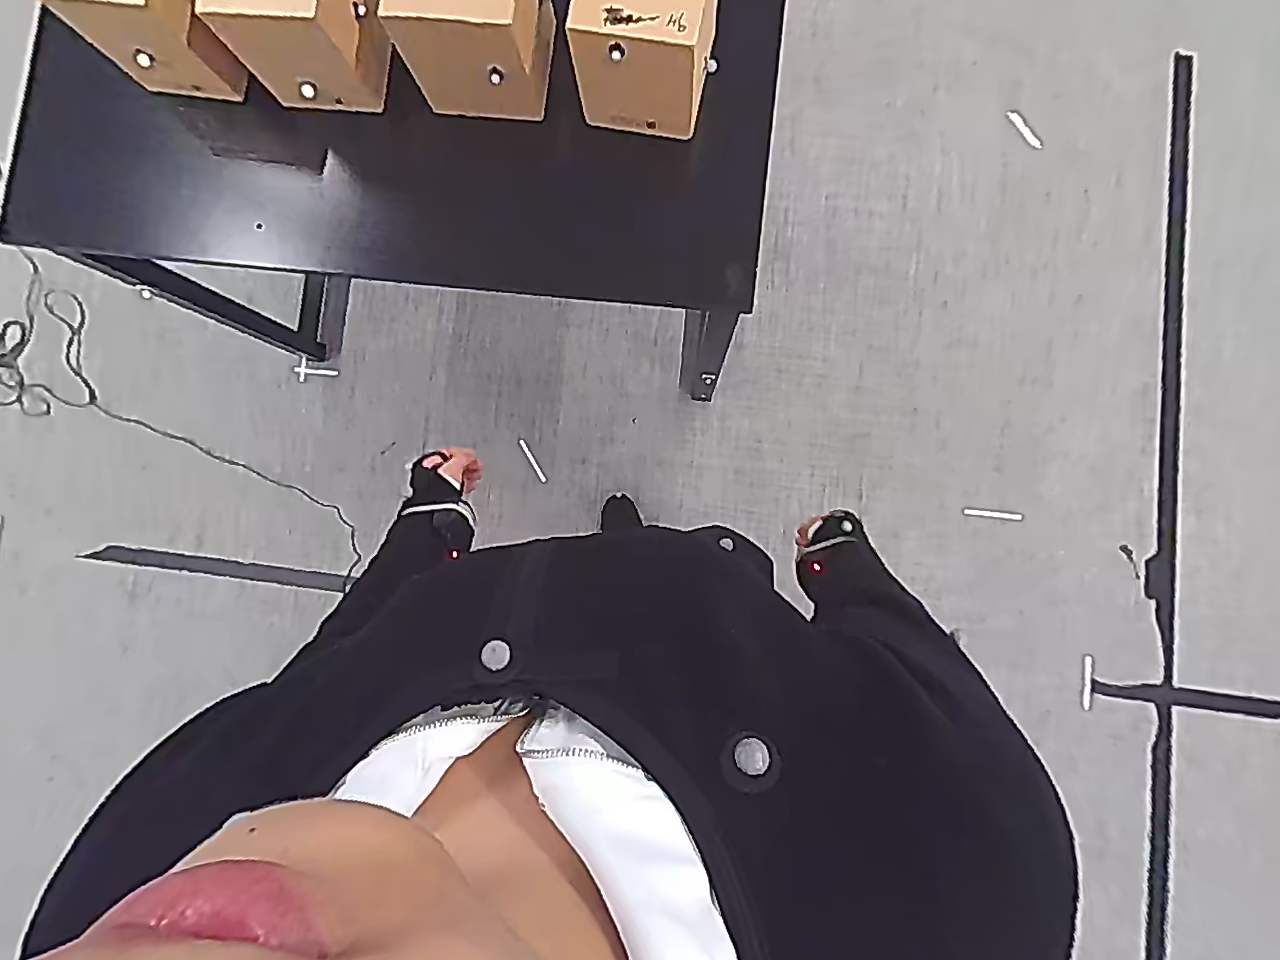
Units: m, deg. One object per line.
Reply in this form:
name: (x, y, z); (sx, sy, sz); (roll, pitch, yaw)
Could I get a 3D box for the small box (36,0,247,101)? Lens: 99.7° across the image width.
small box: (-0.702, -0.698, 0.788); (0.168, 0.176, 0.179); (9, 86, 3)

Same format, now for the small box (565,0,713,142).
small box: (0.007, -0.616, 0.745); (0.168, 0.176, 0.179); (12, 86, 4)

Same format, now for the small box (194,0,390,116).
small box: (-0.480, -0.668, 0.774); (0.168, 0.176, 0.179); (5, 88, 3)

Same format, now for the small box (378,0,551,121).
small box: (-0.232, -0.643, 0.762); (0.179, 0.176, 0.168); (6, 85, 4)
